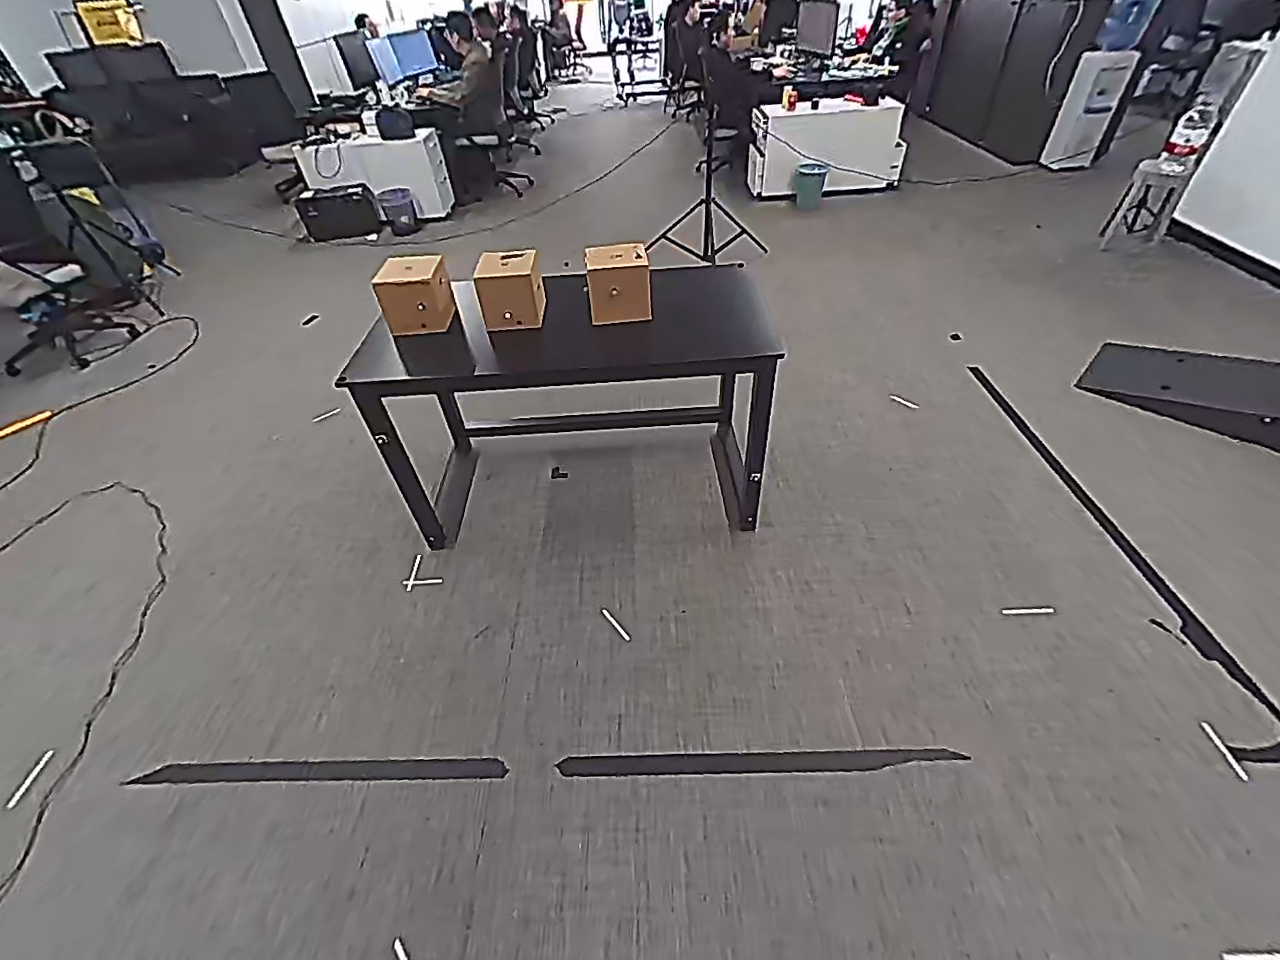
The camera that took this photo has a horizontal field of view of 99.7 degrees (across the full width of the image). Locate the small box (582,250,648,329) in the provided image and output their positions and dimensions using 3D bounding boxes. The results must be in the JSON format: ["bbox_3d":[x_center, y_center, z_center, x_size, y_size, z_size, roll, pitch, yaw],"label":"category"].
[{"bbox_3d":[-0.074,-0.567,1.617,0.179,0.176,0.168,-7,44,-2],"label":"small box"}]

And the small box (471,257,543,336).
[{"bbox_3d":[-0.392,-0.552,1.625,0.168,0.176,0.179,-4,44,0],"label":"small box"}]

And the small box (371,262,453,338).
[{"bbox_3d":[-0.679,-0.540,1.636,0.168,0.176,0.179,-4,43,-1],"label":"small box"}]
